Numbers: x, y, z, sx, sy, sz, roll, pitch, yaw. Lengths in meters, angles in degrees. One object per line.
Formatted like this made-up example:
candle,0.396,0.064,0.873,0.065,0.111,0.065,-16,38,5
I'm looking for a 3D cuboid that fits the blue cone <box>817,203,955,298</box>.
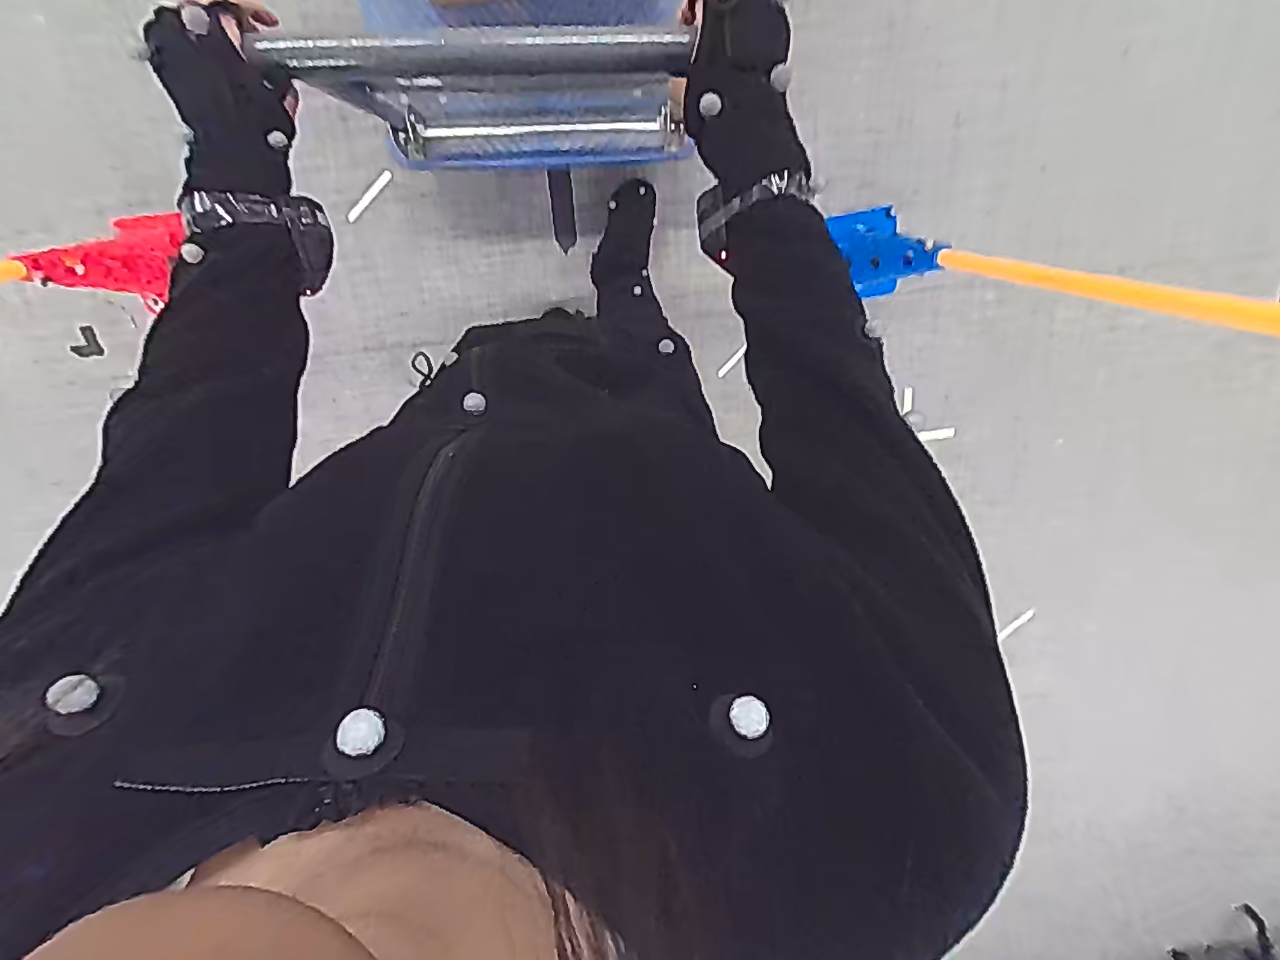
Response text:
blue cone,0.530,-0.480,1.131,0.193,0.380,0.192,-10,112,-1
